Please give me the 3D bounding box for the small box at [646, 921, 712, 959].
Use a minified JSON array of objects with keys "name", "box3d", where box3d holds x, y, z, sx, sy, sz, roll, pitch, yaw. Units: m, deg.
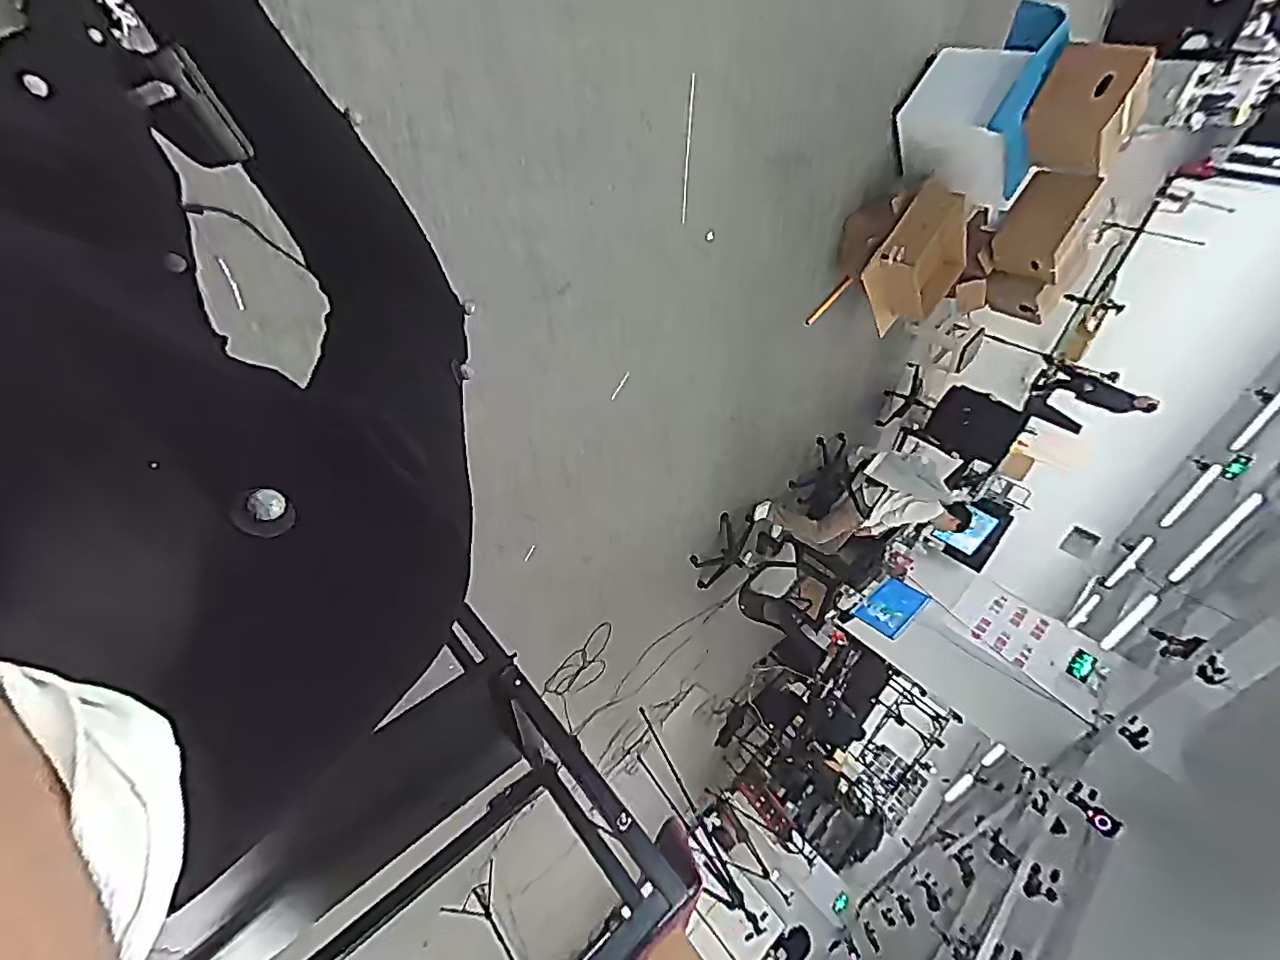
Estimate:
[{"name":"small box","box3d":[0.078,1.074,1.122,0.179,0.176,0.168,-29,140,-31]}]
